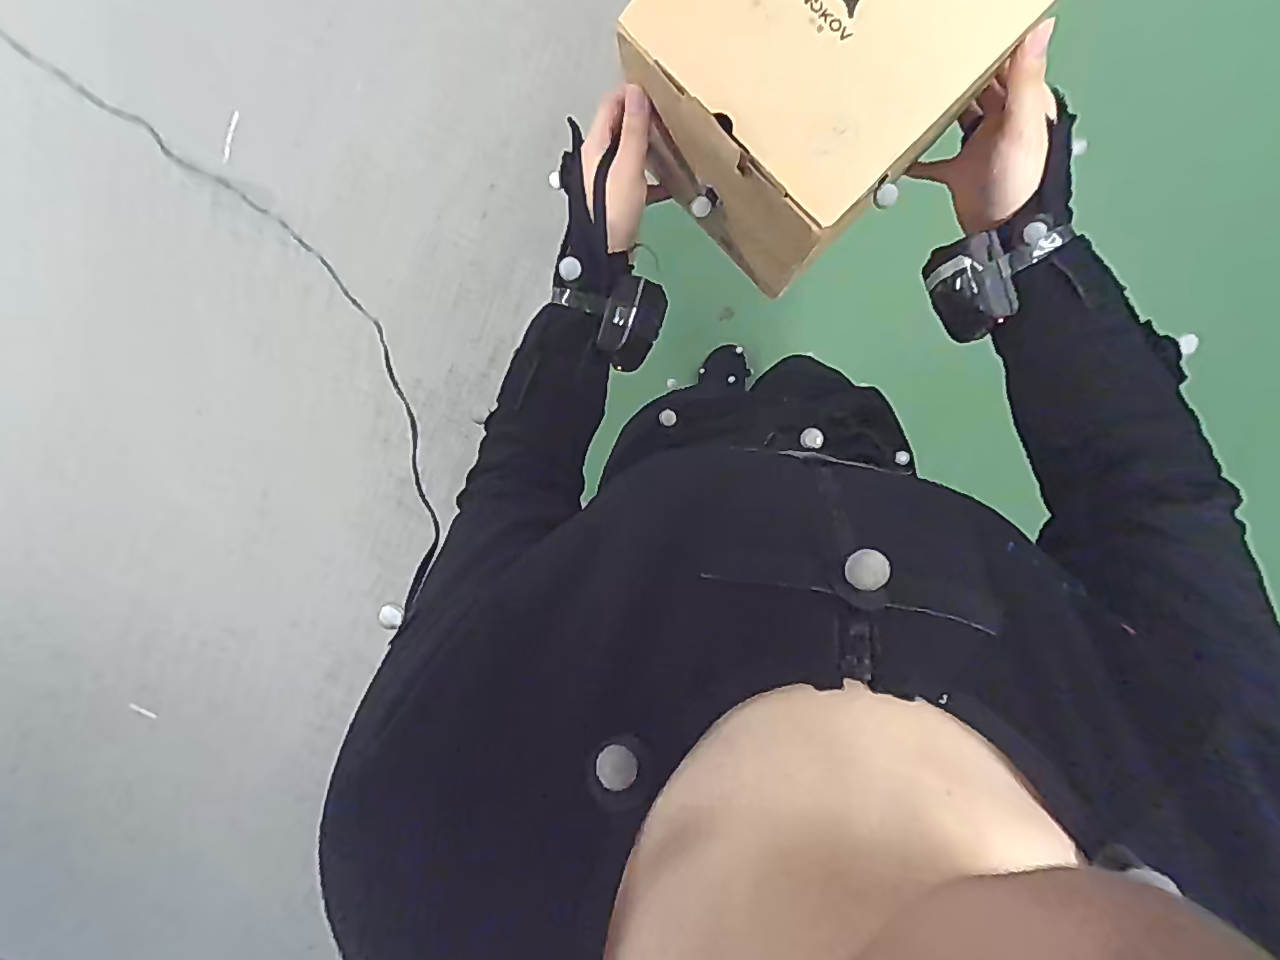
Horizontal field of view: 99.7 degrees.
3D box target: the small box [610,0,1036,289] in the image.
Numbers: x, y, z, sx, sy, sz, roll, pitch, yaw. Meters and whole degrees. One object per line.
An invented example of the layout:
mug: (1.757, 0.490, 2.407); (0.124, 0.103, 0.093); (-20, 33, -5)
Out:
small box: (0.107, -0.263, 0.375); (0.168, 0.176, 0.179); (44, 99, 0)
